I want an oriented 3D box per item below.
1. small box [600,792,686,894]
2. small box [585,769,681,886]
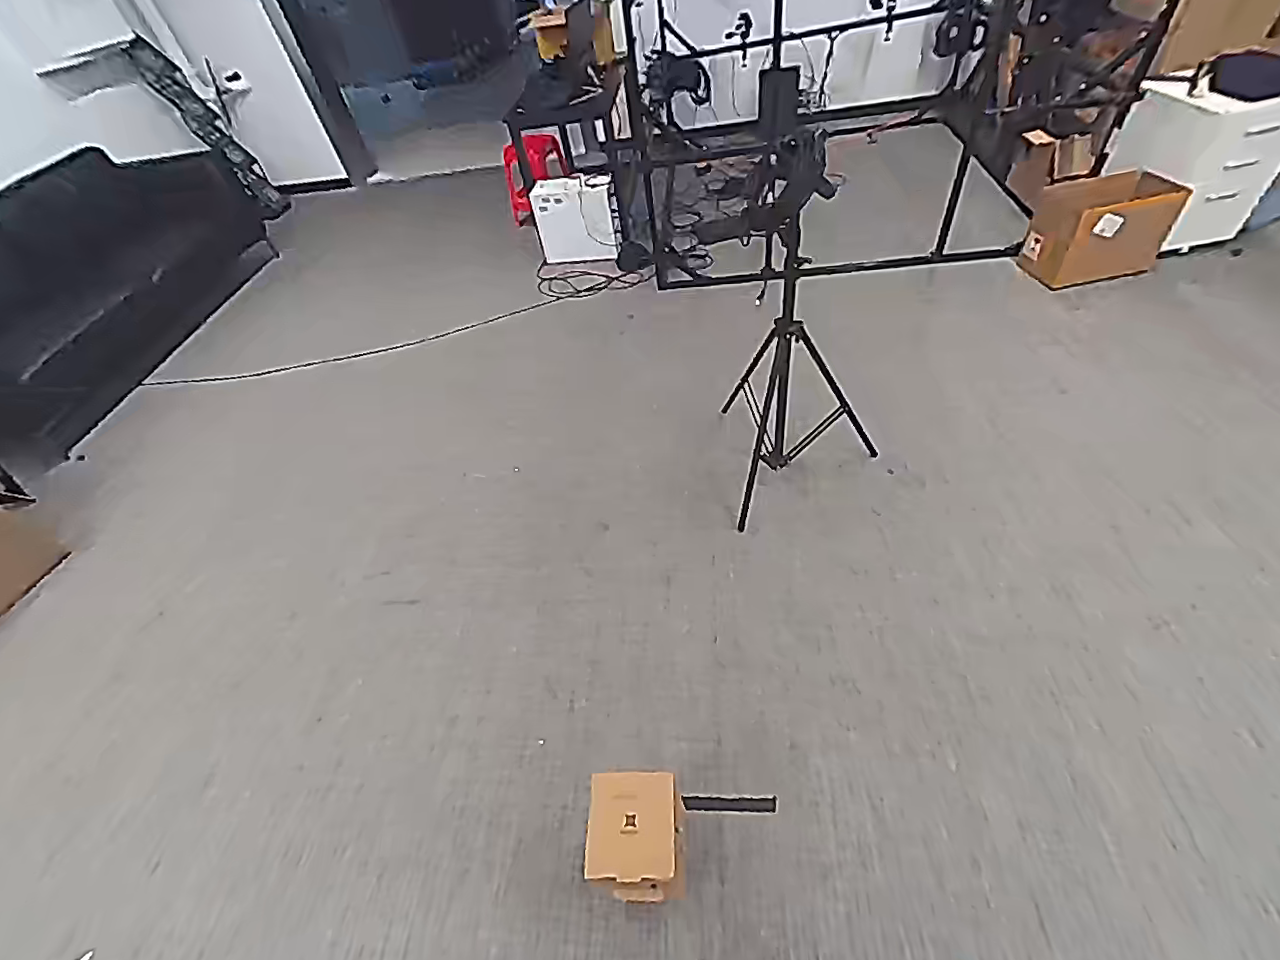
[{"bbox_3d":[0.015,0.803,1.199,0.168,0.176,0.179,-4,47,8],"label":"small box"},{"bbox_3d":[-0.006,0.695,1.079,0.168,0.176,0.179,-4,48,6],"label":"small box"}]
